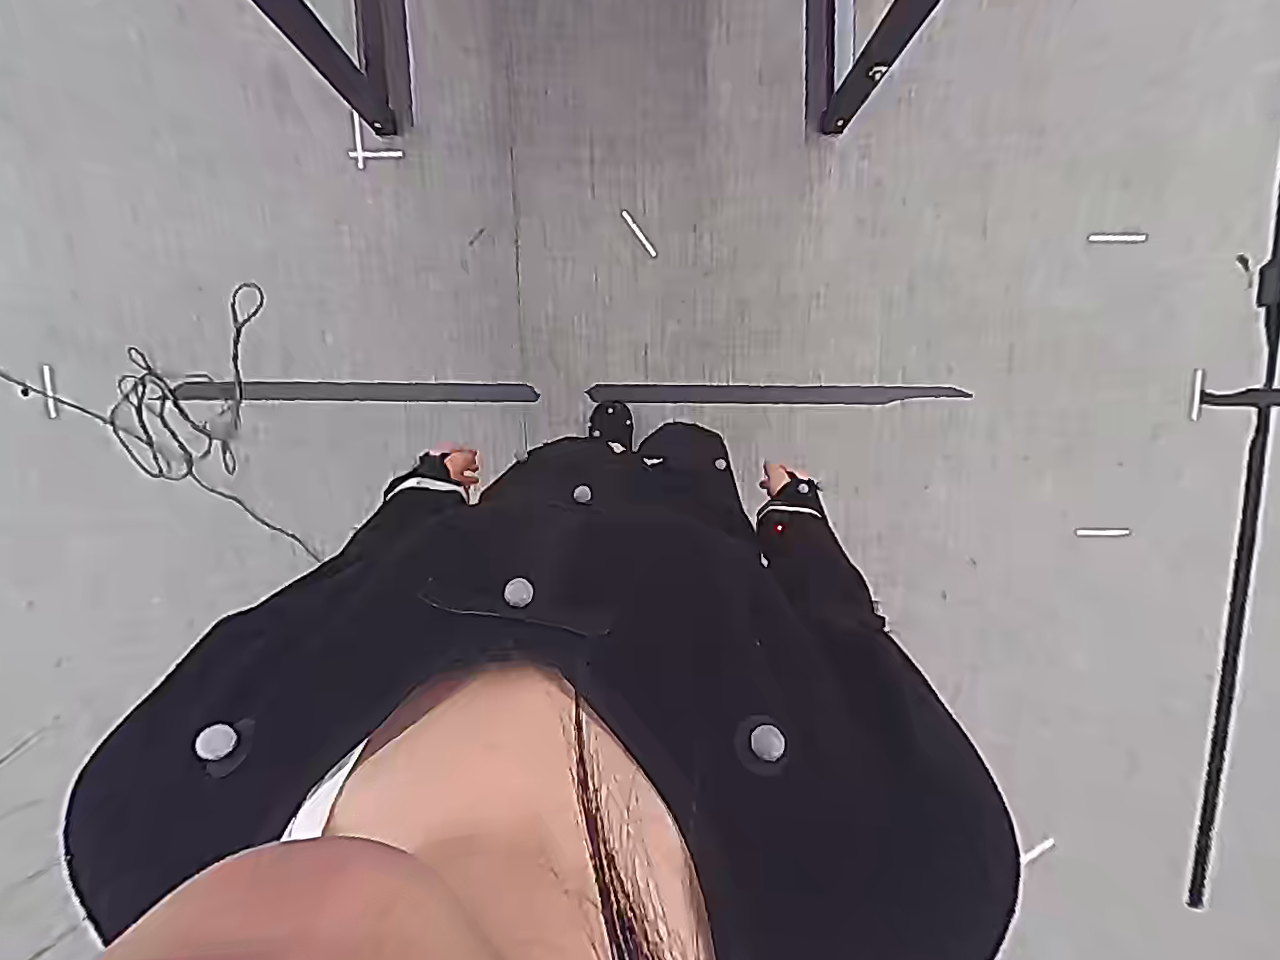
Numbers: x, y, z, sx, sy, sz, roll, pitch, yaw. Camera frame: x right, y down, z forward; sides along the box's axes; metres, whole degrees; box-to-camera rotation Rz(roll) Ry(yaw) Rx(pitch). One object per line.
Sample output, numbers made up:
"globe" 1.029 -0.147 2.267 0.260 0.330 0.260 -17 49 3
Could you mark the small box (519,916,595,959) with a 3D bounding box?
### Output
"small box" -0.195 1.180 1.273 0.168 0.176 0.179 -4 97 -1
